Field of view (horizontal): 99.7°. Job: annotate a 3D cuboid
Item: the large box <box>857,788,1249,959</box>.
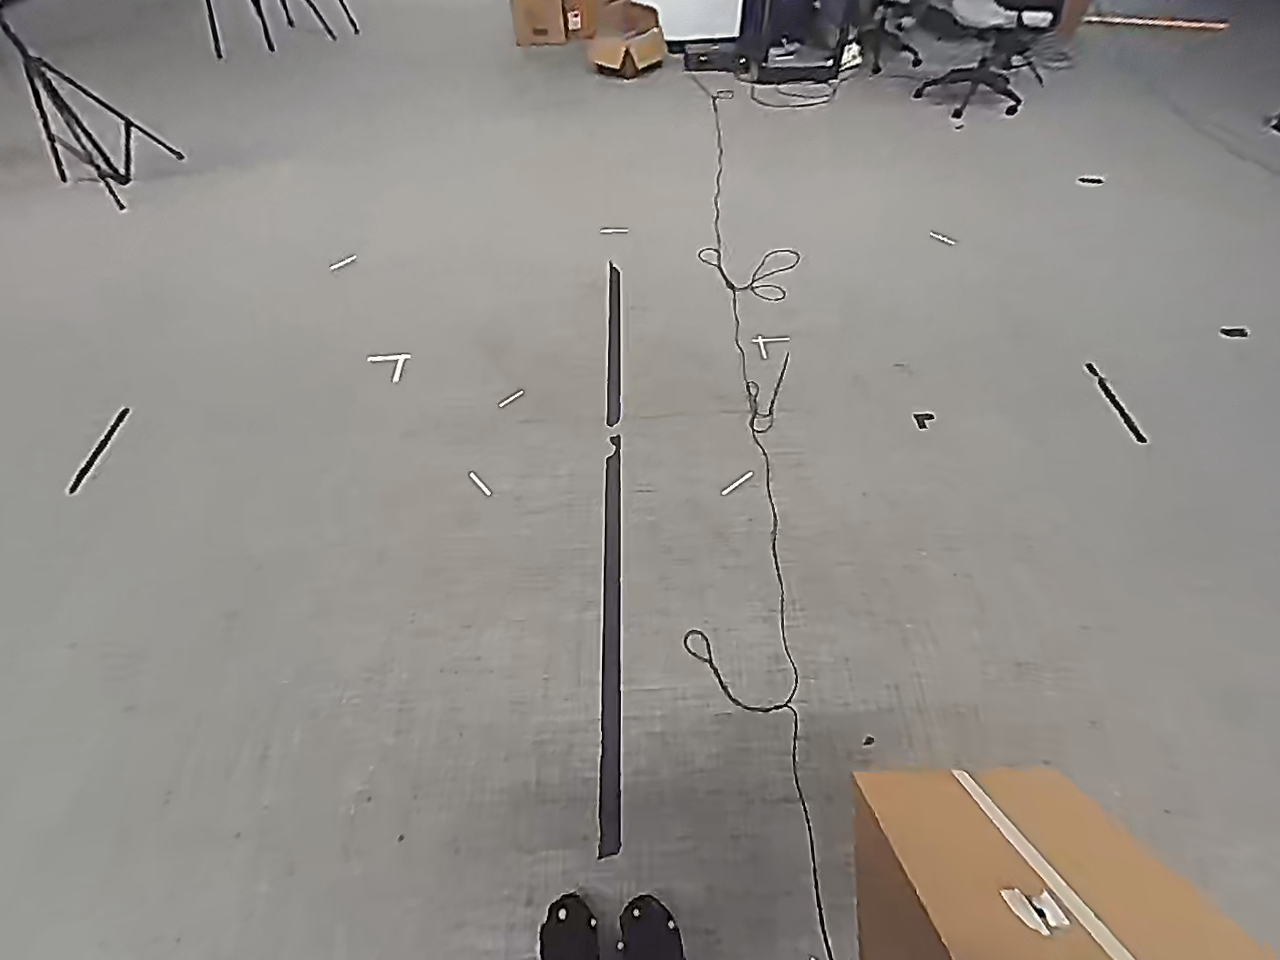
[{"bbox_3d":[0.478,0.638,0.640,0.320,0.408,0.320,-2,92,5],"label":"large box"}]
